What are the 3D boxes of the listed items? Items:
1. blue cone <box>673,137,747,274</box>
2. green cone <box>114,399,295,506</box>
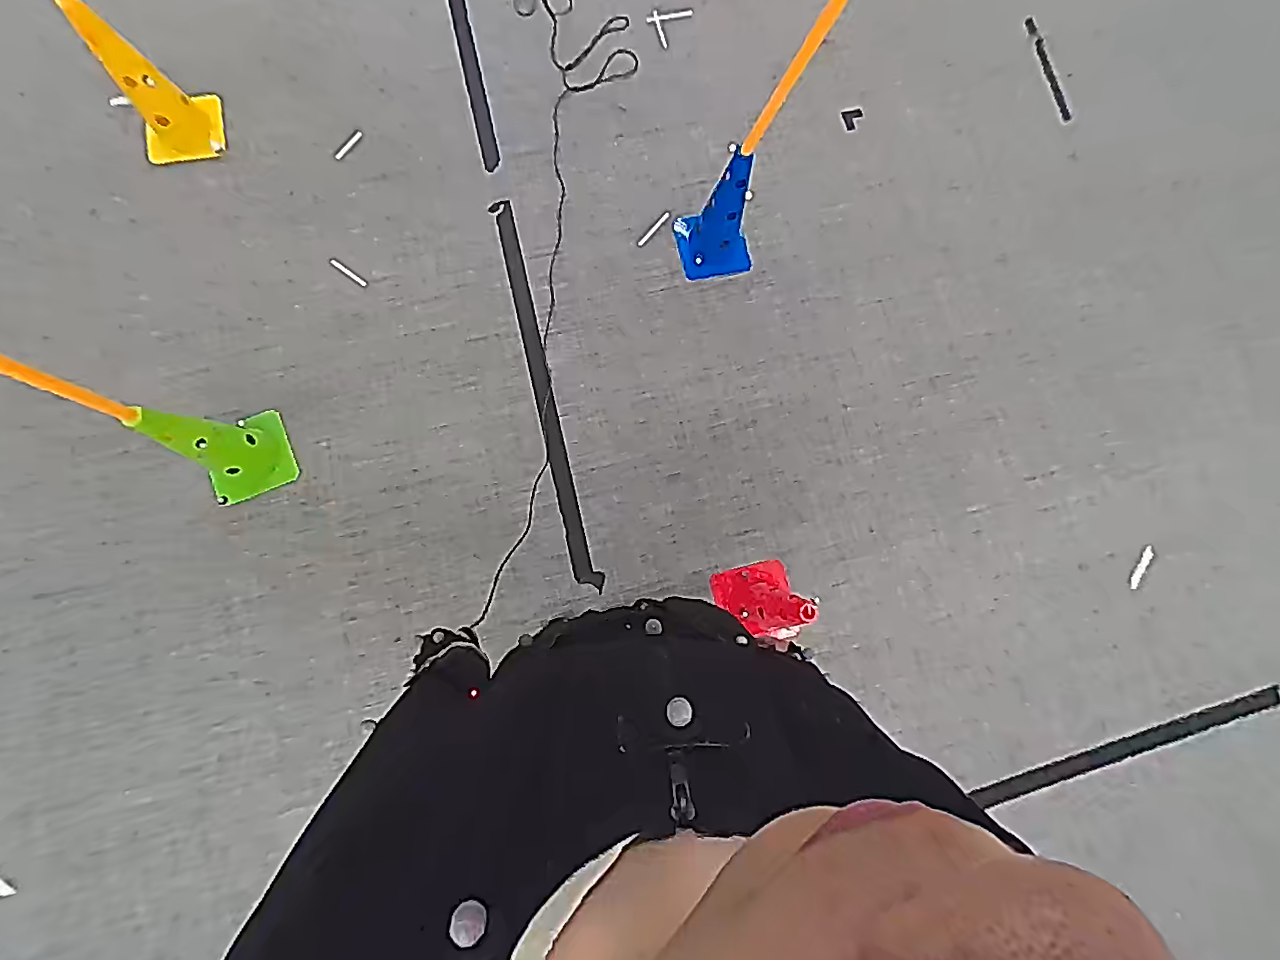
[{"bbox_3d":[0.216,-0.722,1.412,0.193,0.380,0.192,-11,80,-7],"label":"blue cone"},{"bbox_3d":[-0.974,-0.092,1.189,0.200,0.368,0.202,-24,80,-9],"label":"green cone"}]
